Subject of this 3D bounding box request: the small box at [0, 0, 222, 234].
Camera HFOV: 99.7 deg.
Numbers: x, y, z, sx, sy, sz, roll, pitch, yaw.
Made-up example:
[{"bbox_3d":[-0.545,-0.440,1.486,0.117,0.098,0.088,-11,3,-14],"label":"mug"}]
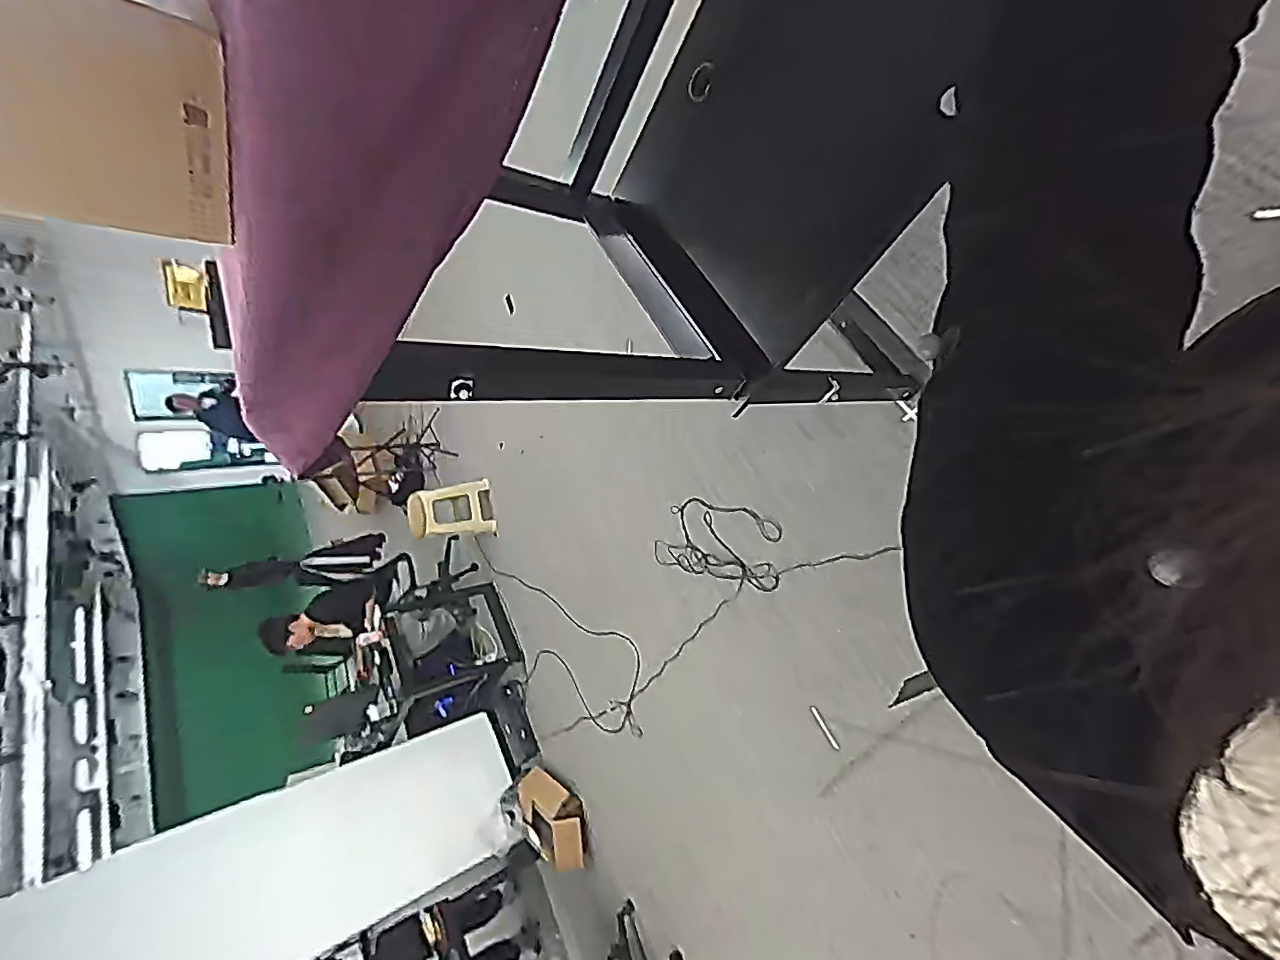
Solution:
[{"bbox_3d":[-0.448,-0.321,0.433,0.179,0.176,0.168,54,133,31],"label":"small box"}]
